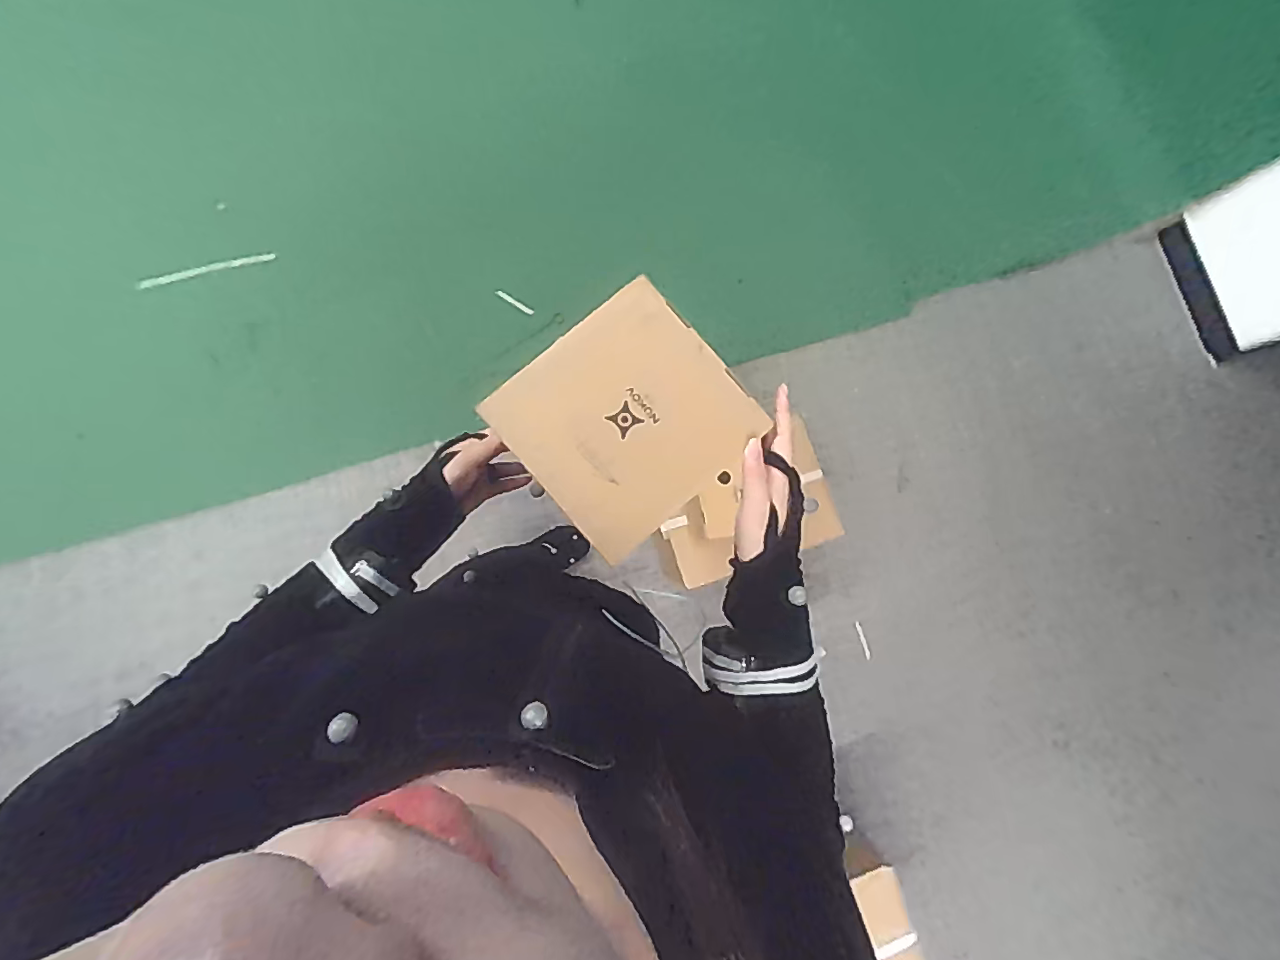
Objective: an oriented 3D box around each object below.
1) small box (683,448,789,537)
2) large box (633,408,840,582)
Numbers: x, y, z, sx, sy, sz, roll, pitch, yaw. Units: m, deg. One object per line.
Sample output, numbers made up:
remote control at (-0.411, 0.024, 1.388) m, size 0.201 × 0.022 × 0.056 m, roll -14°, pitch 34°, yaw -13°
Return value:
small box at (0.200, 0.032, 1.165) m, size 0.179 × 0.176 × 0.168 m, roll -7°, pitch 83°, yaw -6°
large box at (0.227, 0.050, 1.412) m, size 0.408 × 0.320 × 0.320 m, roll -17°, pitch 86°, yaw -8°
